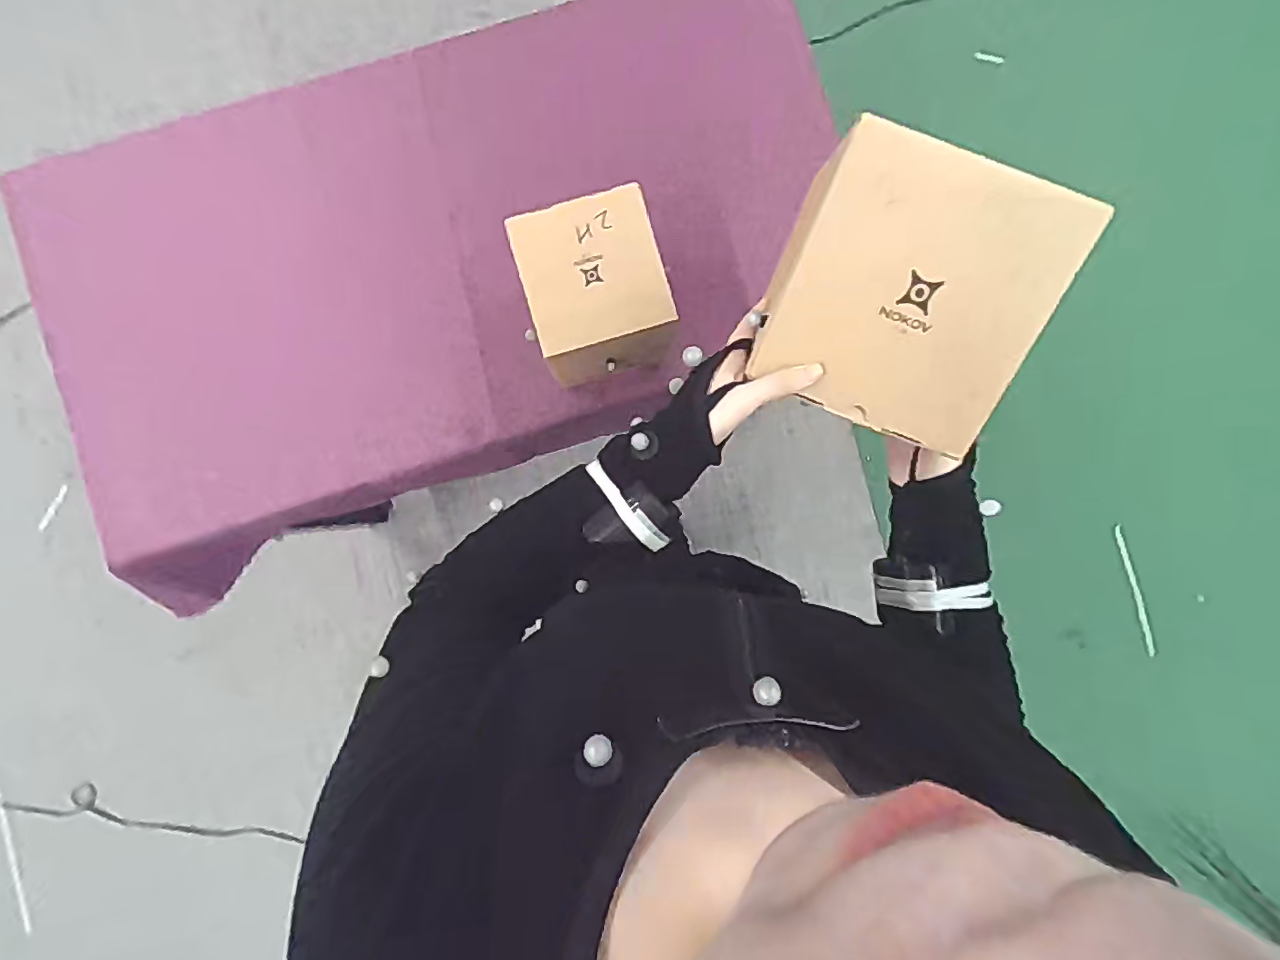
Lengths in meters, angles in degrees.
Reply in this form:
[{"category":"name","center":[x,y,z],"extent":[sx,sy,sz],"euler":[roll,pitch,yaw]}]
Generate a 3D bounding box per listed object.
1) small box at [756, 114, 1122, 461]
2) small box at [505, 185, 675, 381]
[{"category":"small box","center":[0.201,-0.143,0.432],"extent":[0.168,0.176,0.179],"euler":[22,111,1]},{"category":"small box","center":[-0.058,-0.240,0.712],"extent":[0.168,0.176,0.179],"euler":[-17,88,-2]}]
